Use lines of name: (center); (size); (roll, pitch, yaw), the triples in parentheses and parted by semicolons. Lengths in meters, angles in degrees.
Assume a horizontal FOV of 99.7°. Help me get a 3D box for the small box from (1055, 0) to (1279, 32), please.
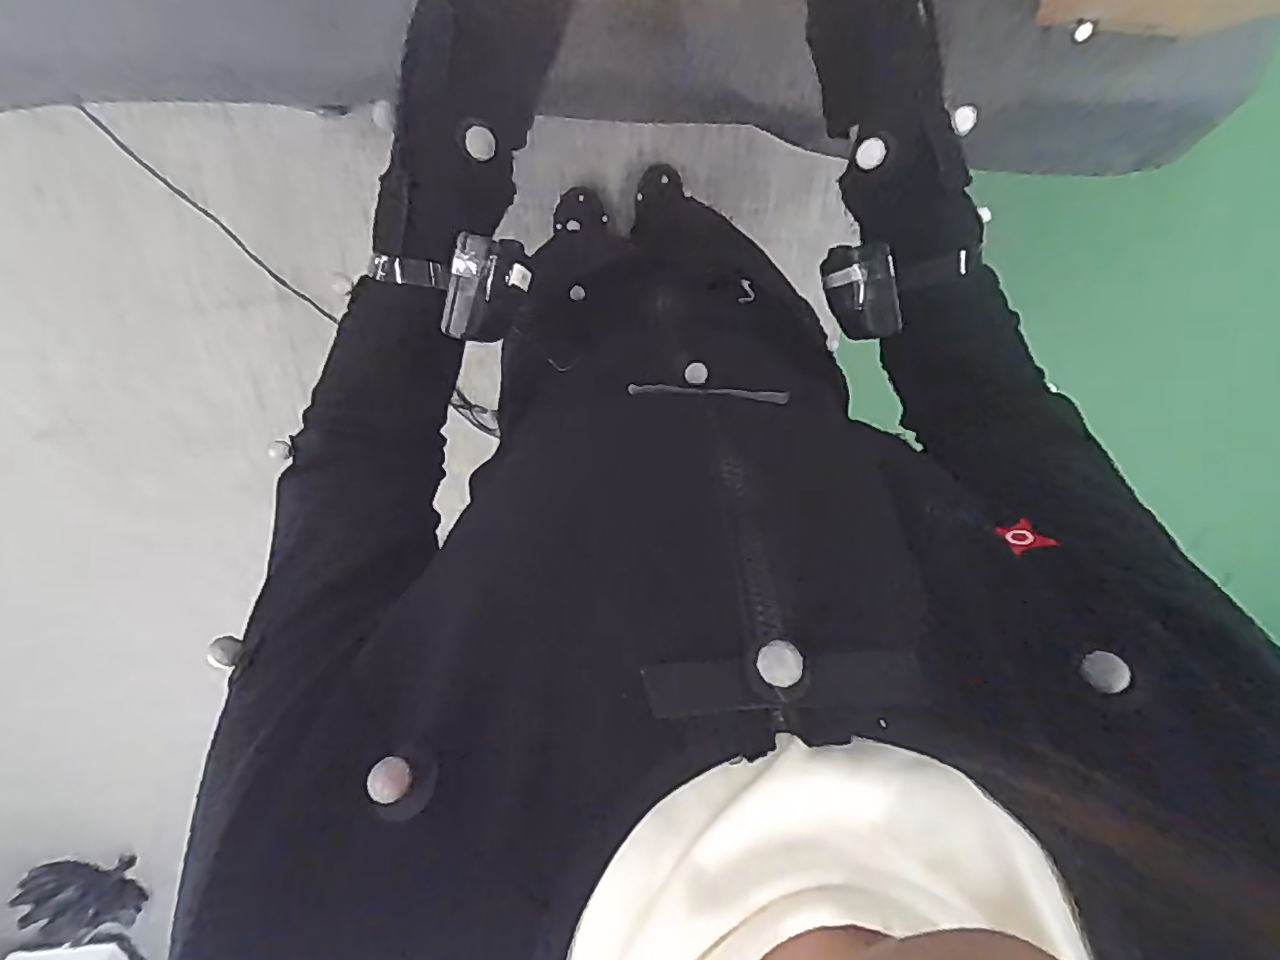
small box: (0.460, -0.465, 0.403); (0.168, 0.176, 0.179); (-1, 118, -6)
